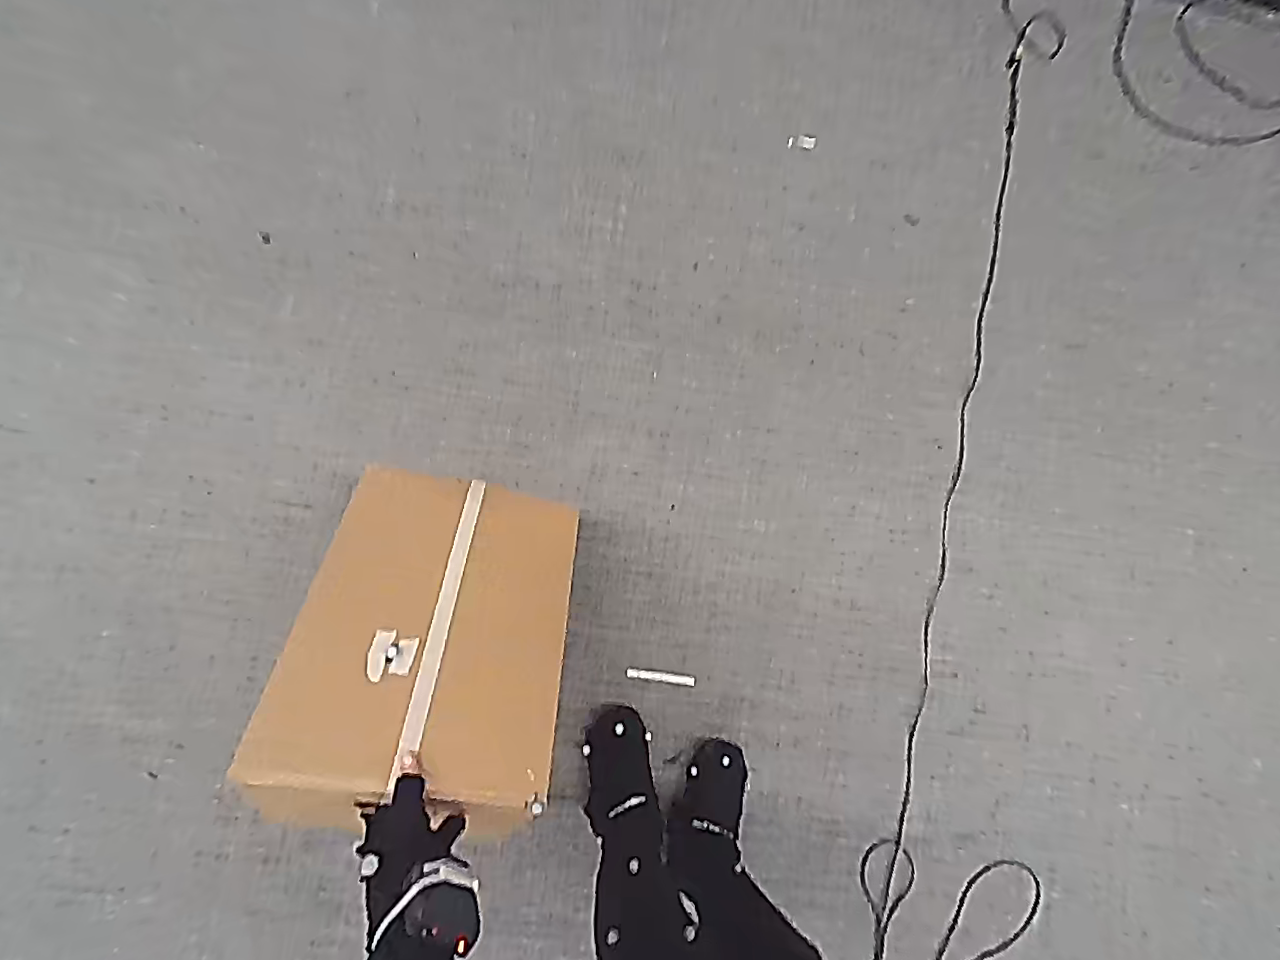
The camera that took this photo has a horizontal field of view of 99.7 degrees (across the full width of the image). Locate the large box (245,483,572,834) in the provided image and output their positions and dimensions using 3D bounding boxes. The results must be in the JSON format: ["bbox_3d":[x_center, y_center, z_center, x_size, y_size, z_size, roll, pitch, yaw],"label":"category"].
[{"bbox_3d":[-0.303,0.275,0.813,0.320,0.320,0.408,13,51,-13],"label":"large box"}]
